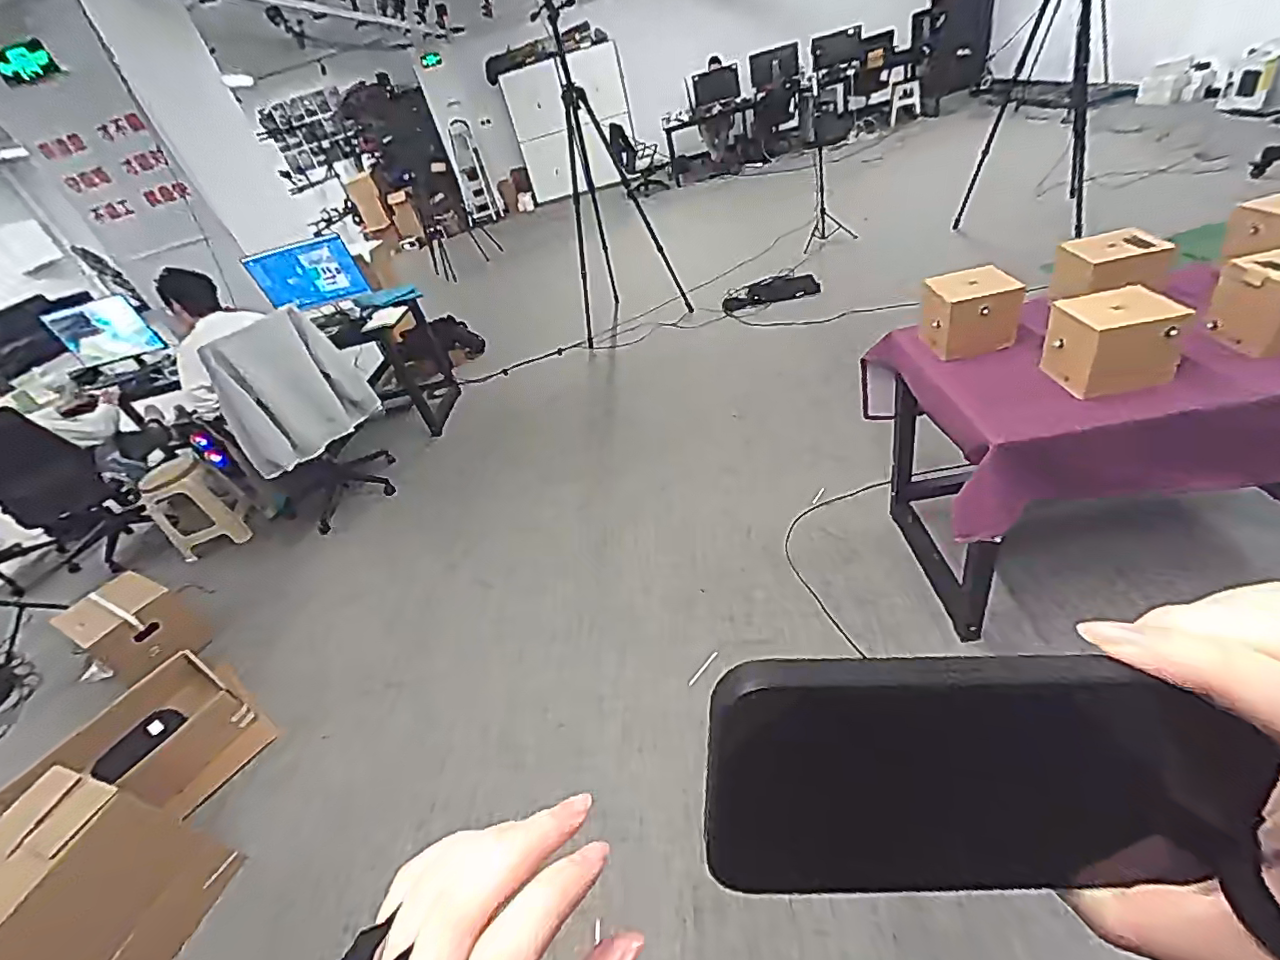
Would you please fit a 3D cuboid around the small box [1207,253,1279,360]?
[{"bbox_3d":[1.363,-0.368,1.139,0.179,0.176,0.168,-8,37,11],"label":"small box"}]

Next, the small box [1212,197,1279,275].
[{"bbox_3d":[1.587,-0.585,1.329,0.168,0.176,0.179,-13,37,7],"label":"small box"}]

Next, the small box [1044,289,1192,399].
[{"bbox_3d":[1.022,-0.292,1.181,0.179,0.176,0.168,-9,37,9],"label":"small box"}]
